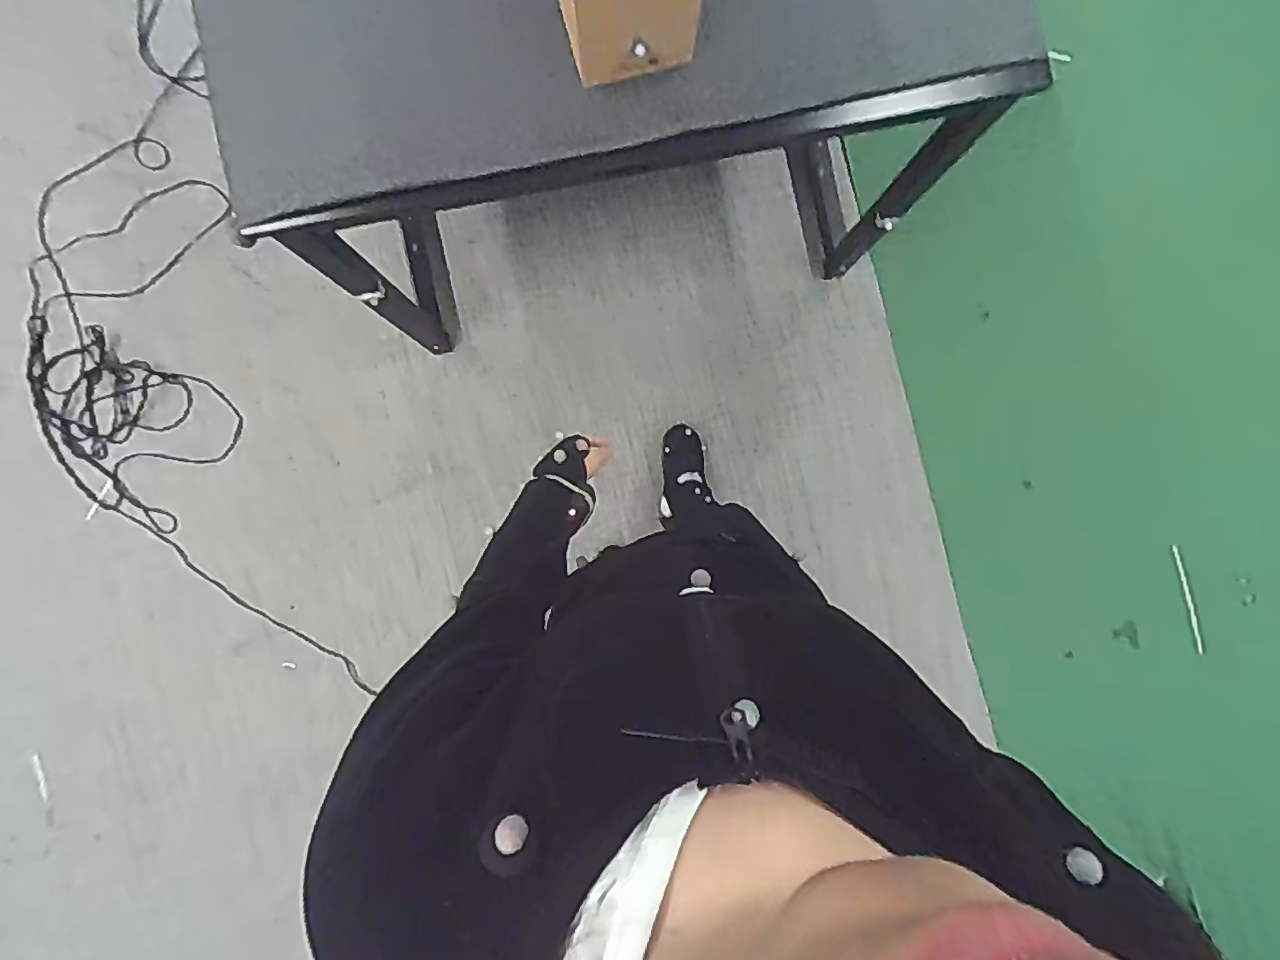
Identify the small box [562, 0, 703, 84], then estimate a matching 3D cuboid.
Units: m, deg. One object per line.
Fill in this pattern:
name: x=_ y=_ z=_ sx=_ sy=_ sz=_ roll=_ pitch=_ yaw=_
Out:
small box: x=-0.020 y=-0.669 z=0.698 sx=0.168 sy=0.176 sz=0.179 roll=-15 pitch=88 yaw=-2
